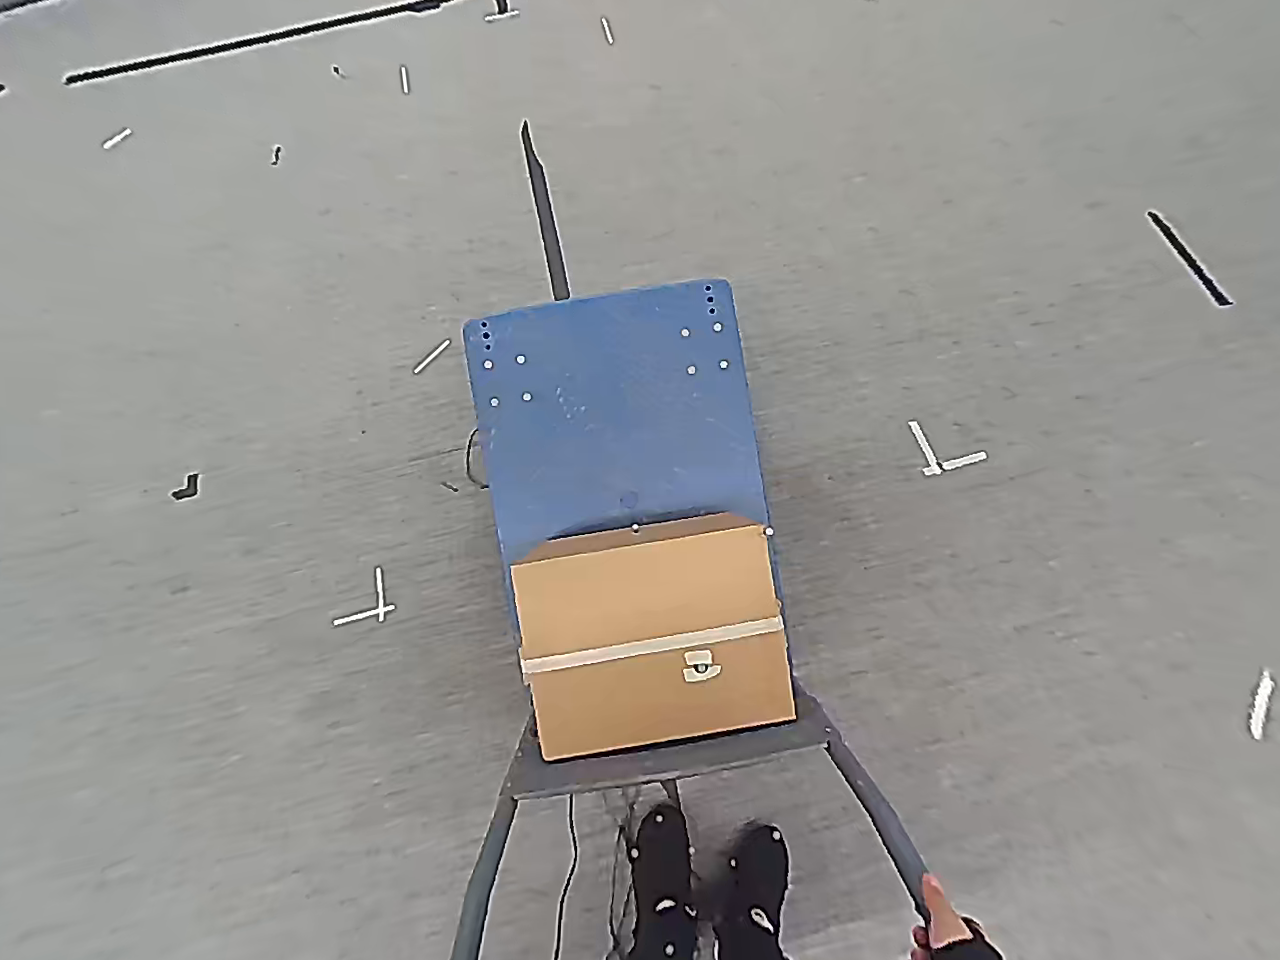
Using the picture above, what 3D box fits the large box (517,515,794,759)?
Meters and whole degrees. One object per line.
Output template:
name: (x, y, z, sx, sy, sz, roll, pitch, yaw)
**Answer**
large box: (0.021, 0.257, 1.004, 0.408, 0.320, 0.320, -10, 91, -2)
